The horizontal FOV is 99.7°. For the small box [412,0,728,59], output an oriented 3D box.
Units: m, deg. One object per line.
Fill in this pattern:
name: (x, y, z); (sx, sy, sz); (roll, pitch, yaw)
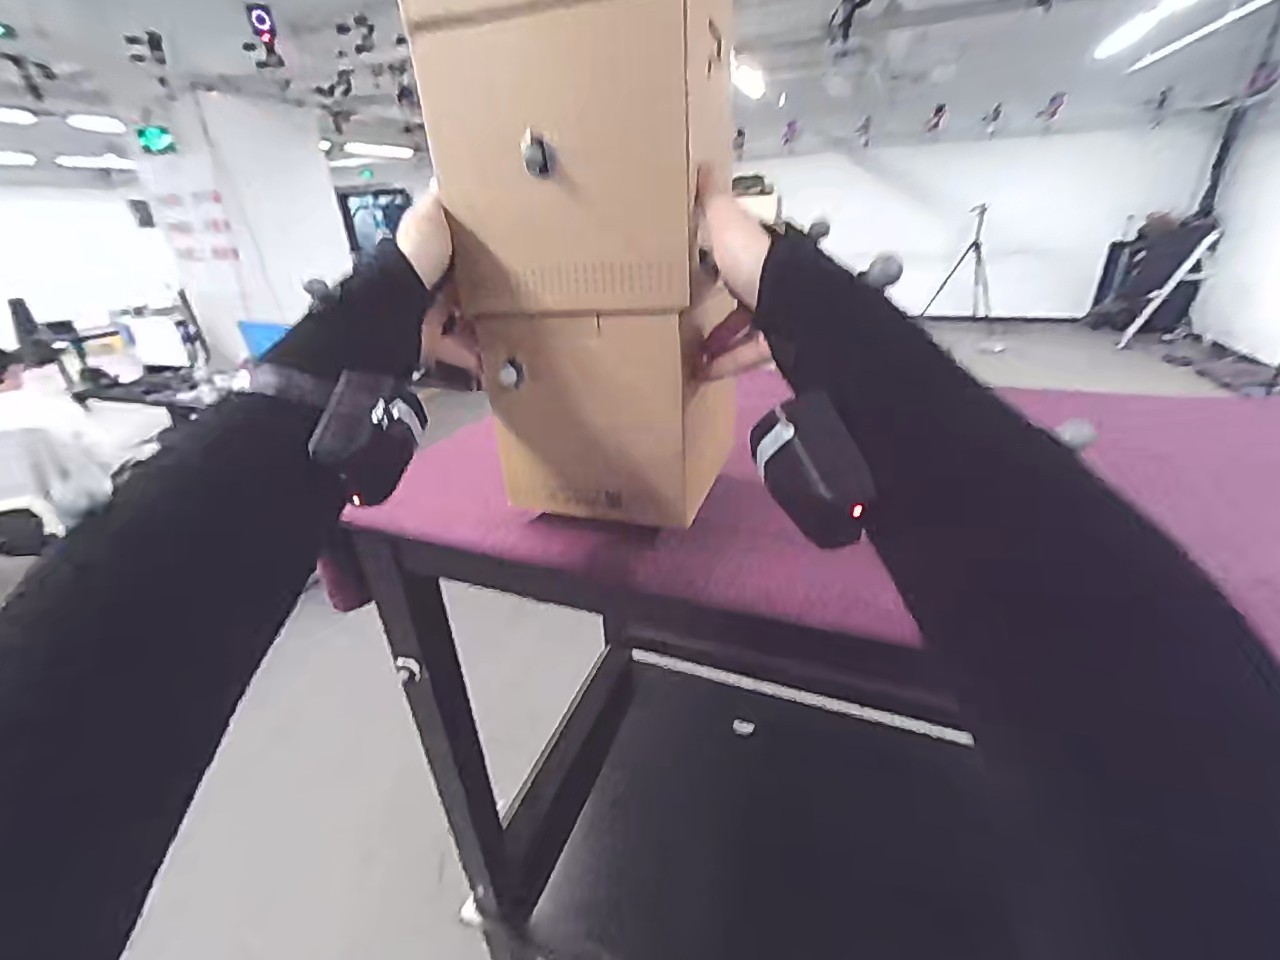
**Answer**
small box: (-0.044, -0.371, 0.347); (0.179, 0.176, 0.168); (5, 28, 18)

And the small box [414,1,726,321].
small box: (-0.032, -0.225, 0.418); (0.179, 0.176, 0.168); (3, 27, 18)
